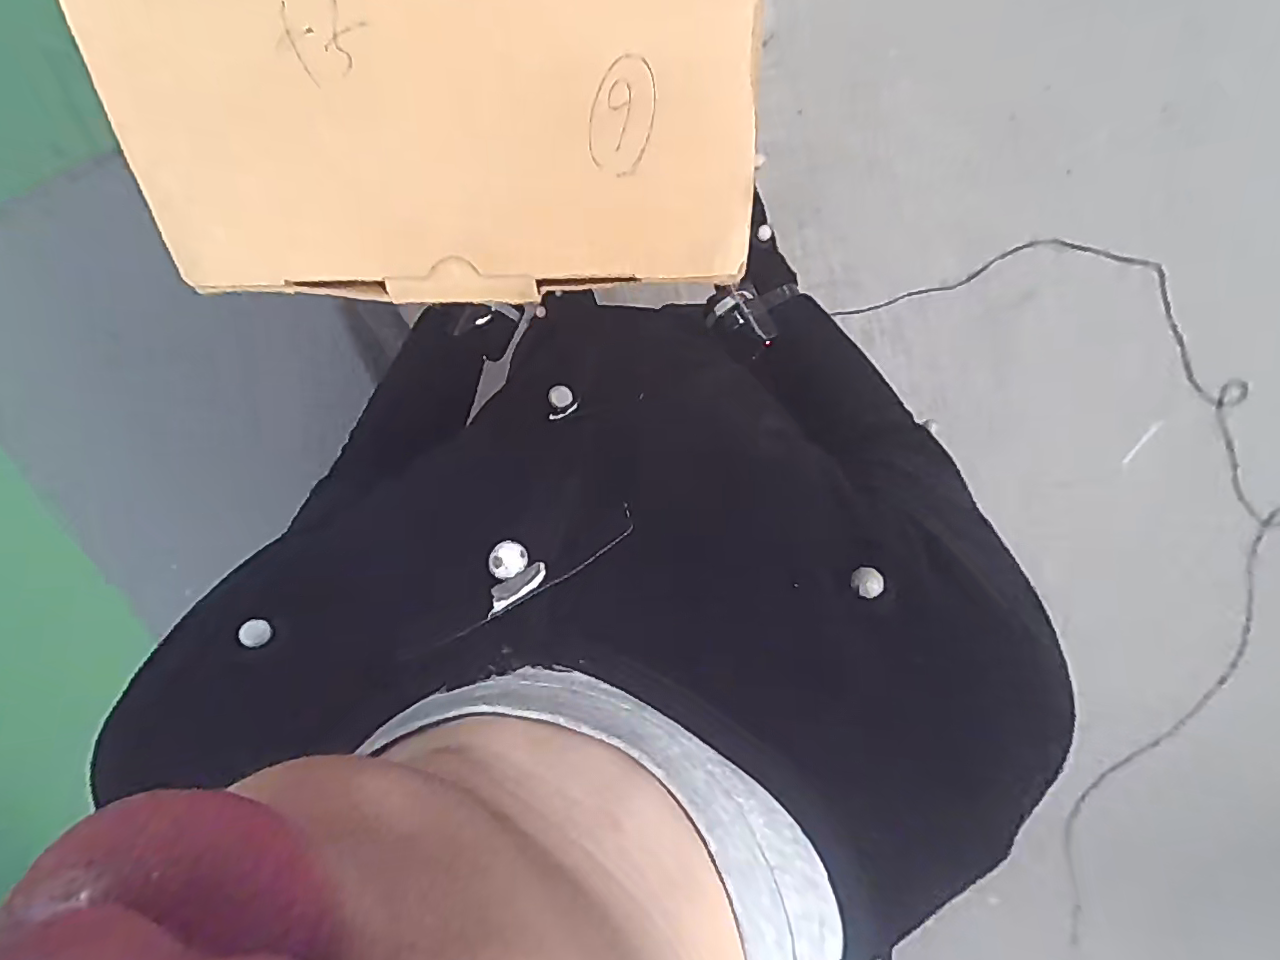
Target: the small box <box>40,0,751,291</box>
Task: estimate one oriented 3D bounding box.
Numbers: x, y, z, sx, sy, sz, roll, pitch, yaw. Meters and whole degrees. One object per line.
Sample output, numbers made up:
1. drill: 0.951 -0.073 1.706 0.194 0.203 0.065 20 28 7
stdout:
1. small box: -0.052 -0.170 0.178 0.168 0.176 0.179 0 120 2
